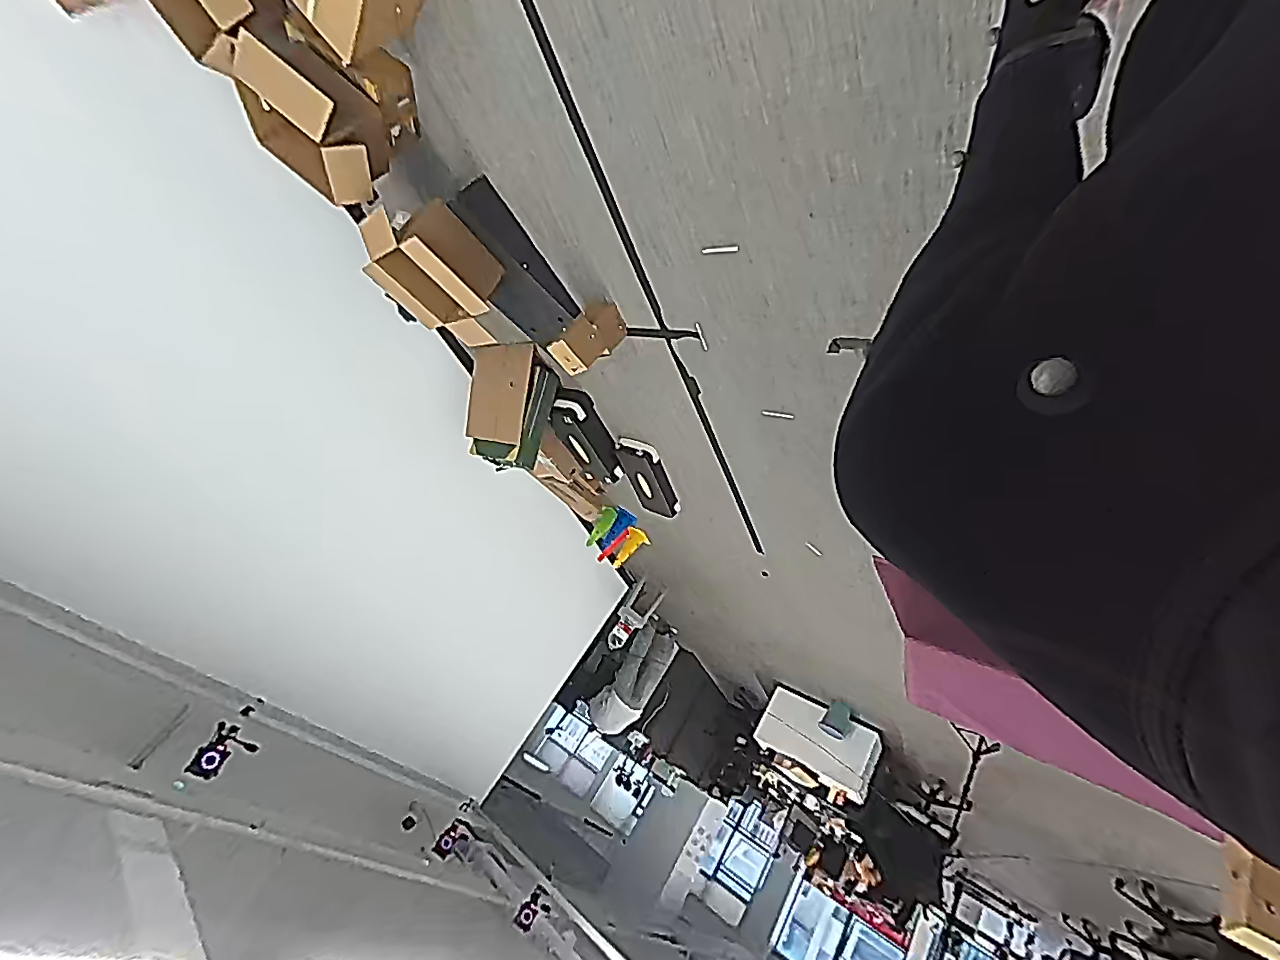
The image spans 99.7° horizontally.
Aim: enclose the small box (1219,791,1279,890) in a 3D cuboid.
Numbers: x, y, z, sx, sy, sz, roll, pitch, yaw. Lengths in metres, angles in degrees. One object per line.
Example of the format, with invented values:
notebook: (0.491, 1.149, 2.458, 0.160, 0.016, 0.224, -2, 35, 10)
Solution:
small box: (1.570, 0.887, 1.315, 0.179, 0.176, 0.168, 17, 149, 37)
